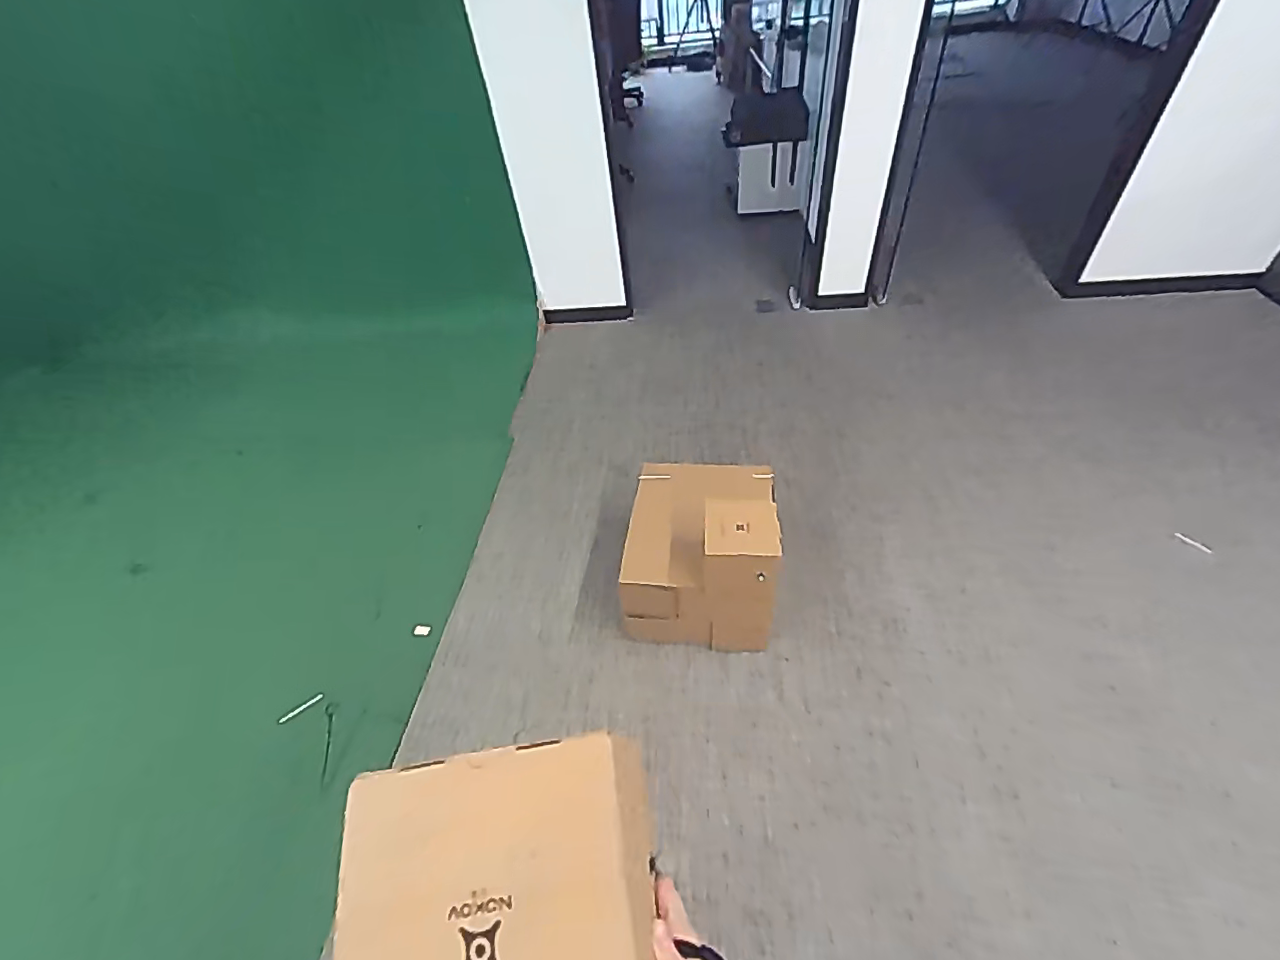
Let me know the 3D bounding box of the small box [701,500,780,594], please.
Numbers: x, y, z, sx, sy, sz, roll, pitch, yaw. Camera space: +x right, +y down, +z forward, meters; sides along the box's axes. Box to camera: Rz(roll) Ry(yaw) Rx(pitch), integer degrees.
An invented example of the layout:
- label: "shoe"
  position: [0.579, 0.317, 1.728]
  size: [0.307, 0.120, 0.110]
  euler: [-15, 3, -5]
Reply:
- label: "small box"
  position: [0.240, 0.167, 1.327]
  size: [0.179, 0.176, 0.168]
  euler: [0, 45, 8]

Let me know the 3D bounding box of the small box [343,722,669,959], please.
- label: "small box"
  position: [-0.076, 0.279, 0.368]
  size: [0.168, 0.176, 0.179]
  euler: [-11, 61, 1]
